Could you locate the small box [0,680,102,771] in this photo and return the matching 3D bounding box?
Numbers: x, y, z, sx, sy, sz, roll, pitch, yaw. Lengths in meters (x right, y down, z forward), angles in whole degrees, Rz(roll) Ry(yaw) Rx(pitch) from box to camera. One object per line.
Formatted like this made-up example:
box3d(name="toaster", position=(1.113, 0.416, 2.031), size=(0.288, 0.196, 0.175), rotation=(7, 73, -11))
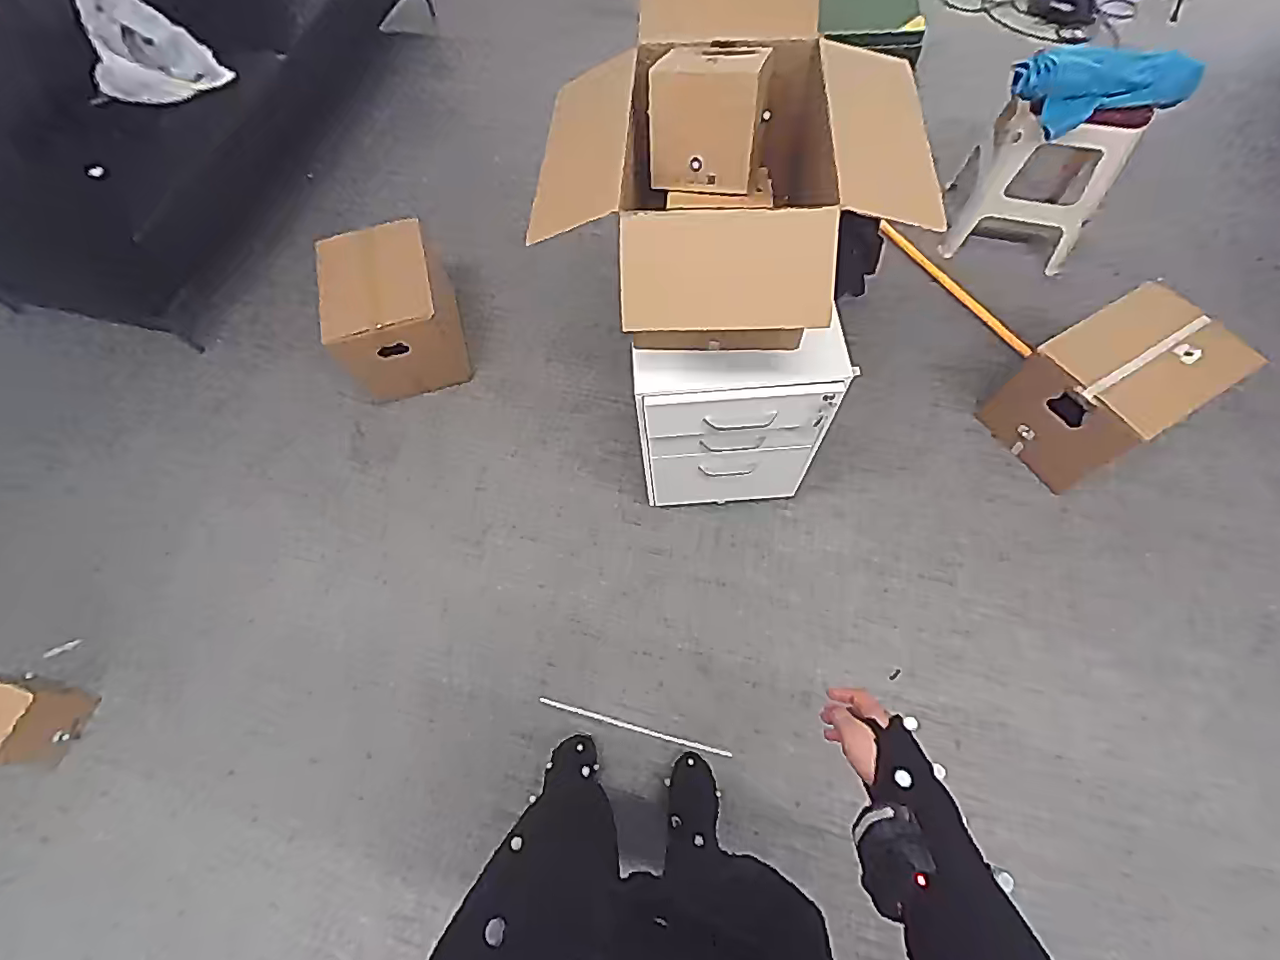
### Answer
box3d(name="small box", position=(-1.502, 0.597, 1.316), size=(0.179, 0.176, 0.168), rotation=(13, 68, 8))
